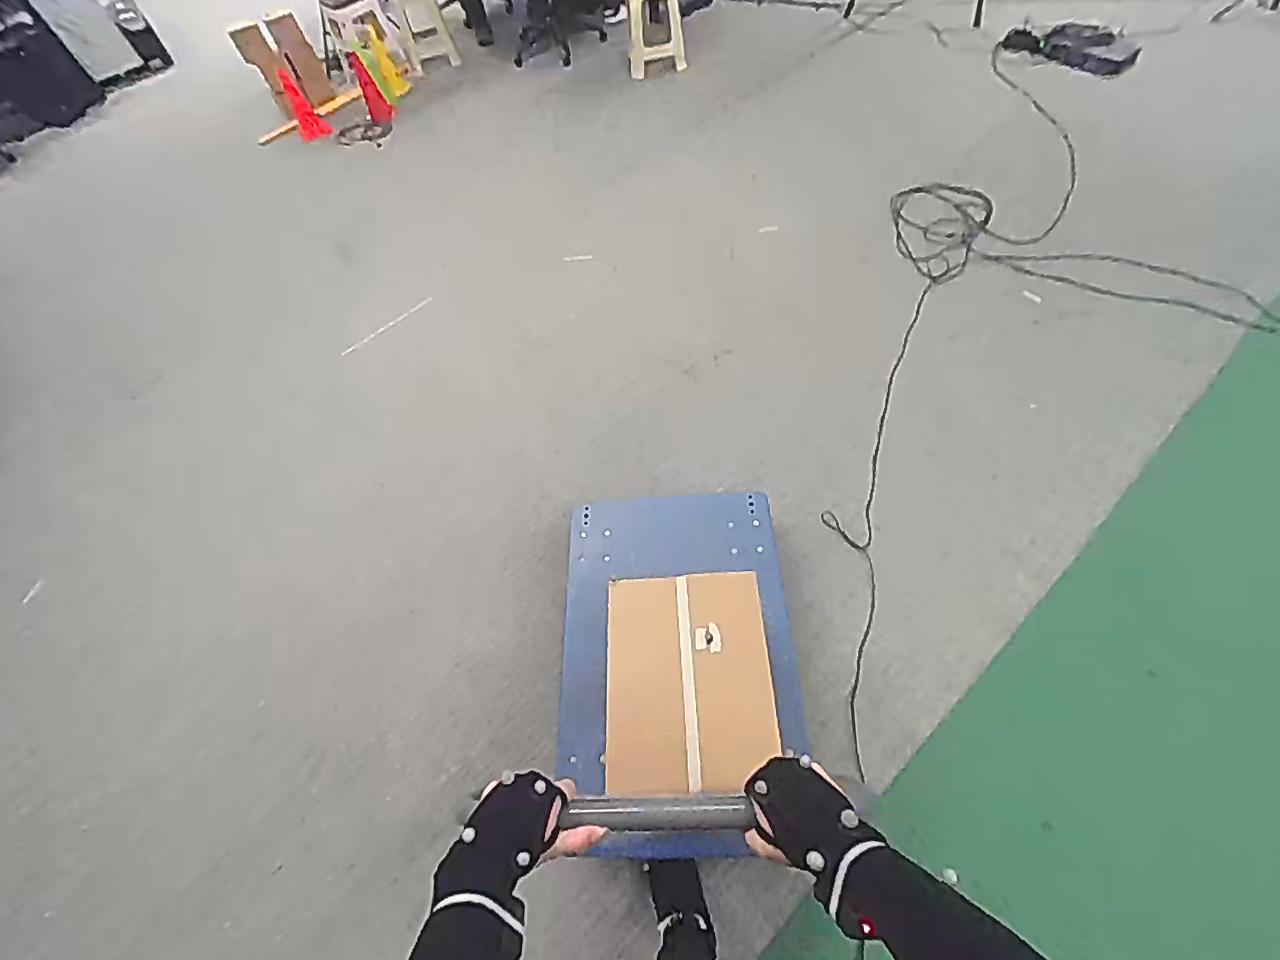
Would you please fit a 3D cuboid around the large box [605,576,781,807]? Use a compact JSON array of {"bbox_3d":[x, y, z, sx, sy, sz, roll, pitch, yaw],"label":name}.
[{"bbox_3d":[0.107,0.464,1.175,0.320,0.320,0.408,-4,56,5],"label":"large box"}]
